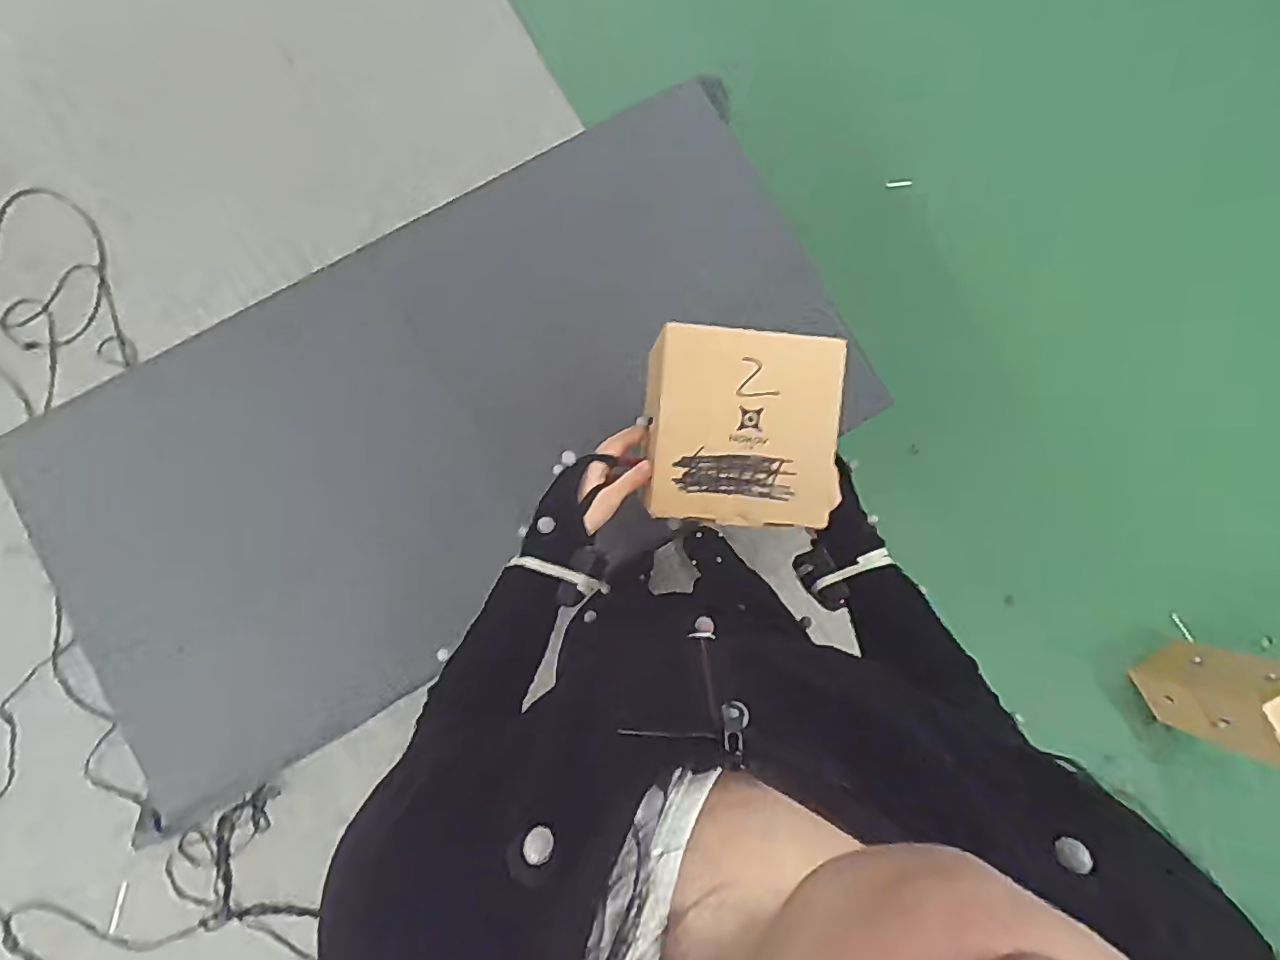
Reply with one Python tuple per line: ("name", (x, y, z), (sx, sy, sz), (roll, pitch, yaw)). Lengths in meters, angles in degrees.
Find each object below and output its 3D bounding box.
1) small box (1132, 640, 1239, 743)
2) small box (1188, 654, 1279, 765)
("small box", (1.461, 0.547, 1.422), (0.179, 0.176, 0.168), (-31, 86, -4))
("small box", (1.462, 0.528, 1.257), (0.179, 0.176, 0.168), (-28, 85, -3))
